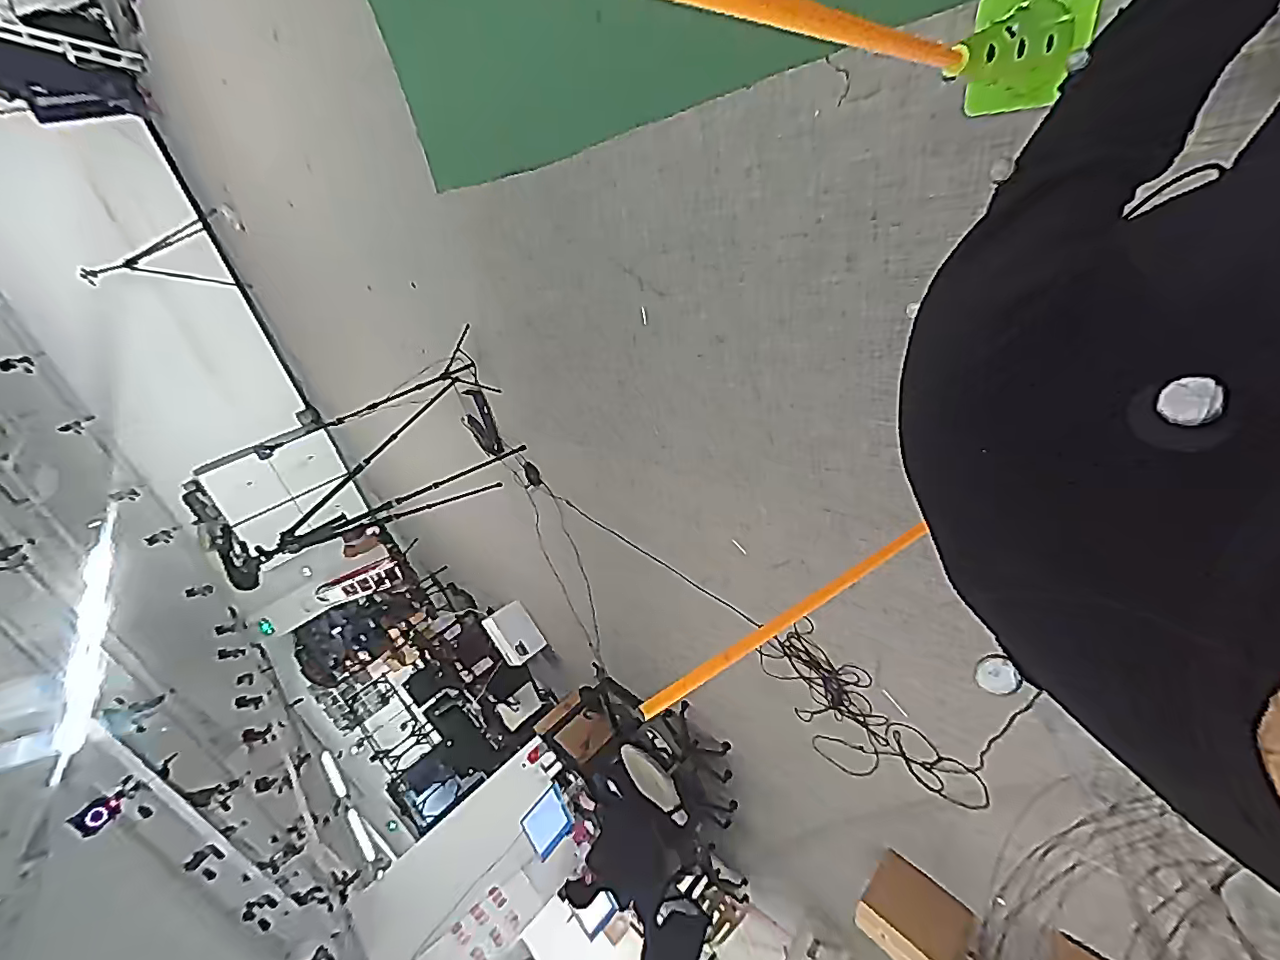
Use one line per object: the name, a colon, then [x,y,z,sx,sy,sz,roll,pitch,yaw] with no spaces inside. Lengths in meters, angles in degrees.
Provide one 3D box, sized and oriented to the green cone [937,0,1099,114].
green cone: [0.627,-0.757,0.954,0.202,0.368,0.200,23,135,42]
